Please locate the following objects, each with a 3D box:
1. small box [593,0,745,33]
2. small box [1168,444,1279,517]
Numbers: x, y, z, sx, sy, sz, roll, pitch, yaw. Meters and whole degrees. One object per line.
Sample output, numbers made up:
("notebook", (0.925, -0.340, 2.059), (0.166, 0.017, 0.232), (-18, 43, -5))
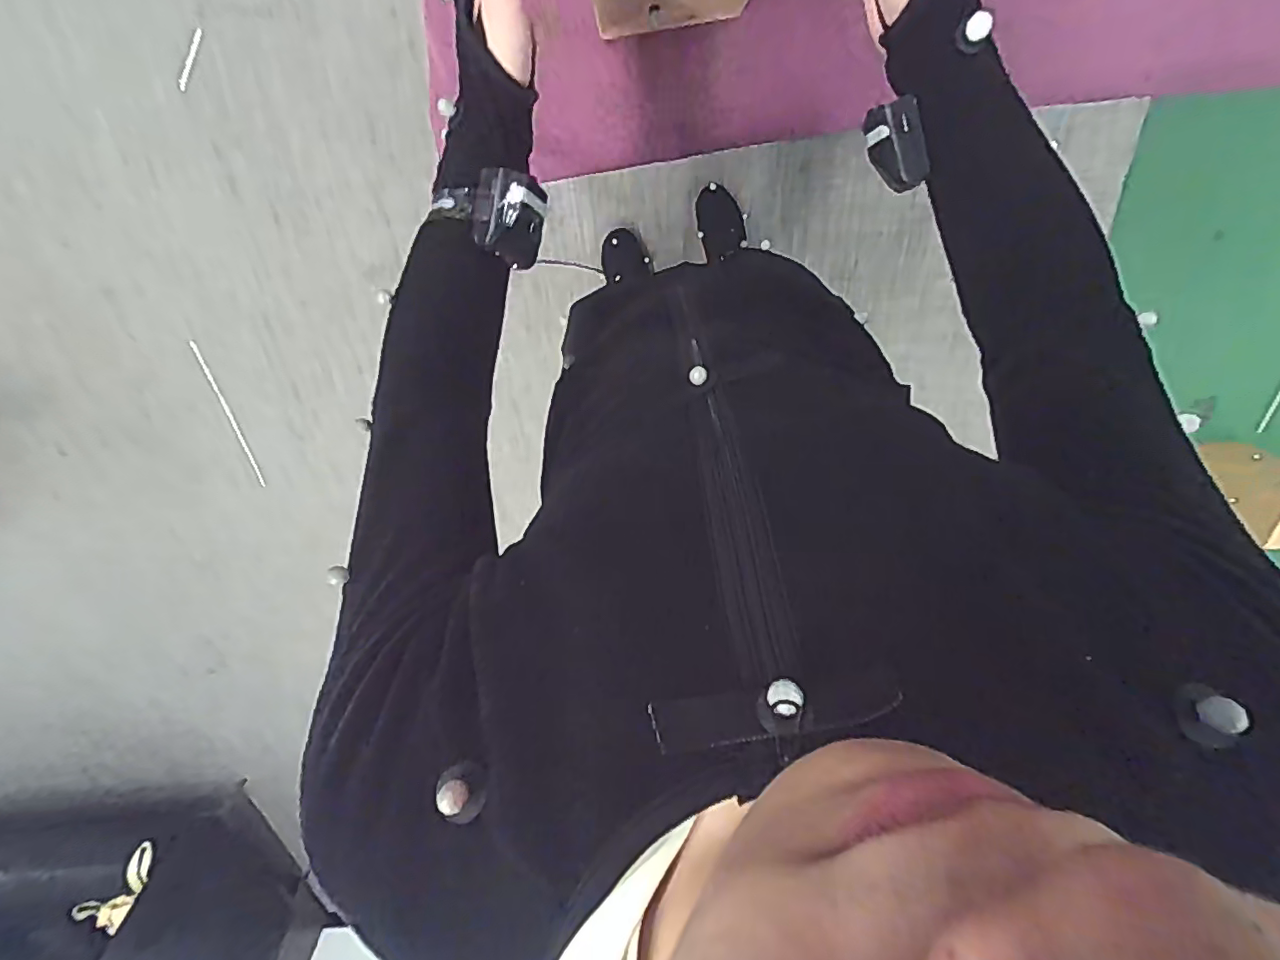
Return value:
("small box", (0.027, -0.568, 0.526), (0.168, 0.176, 0.179), (-6, 118, 4))
("small box", (1.794, -0.002, 1.645), (0.179, 0.176, 0.168), (-2, 119, 2))
